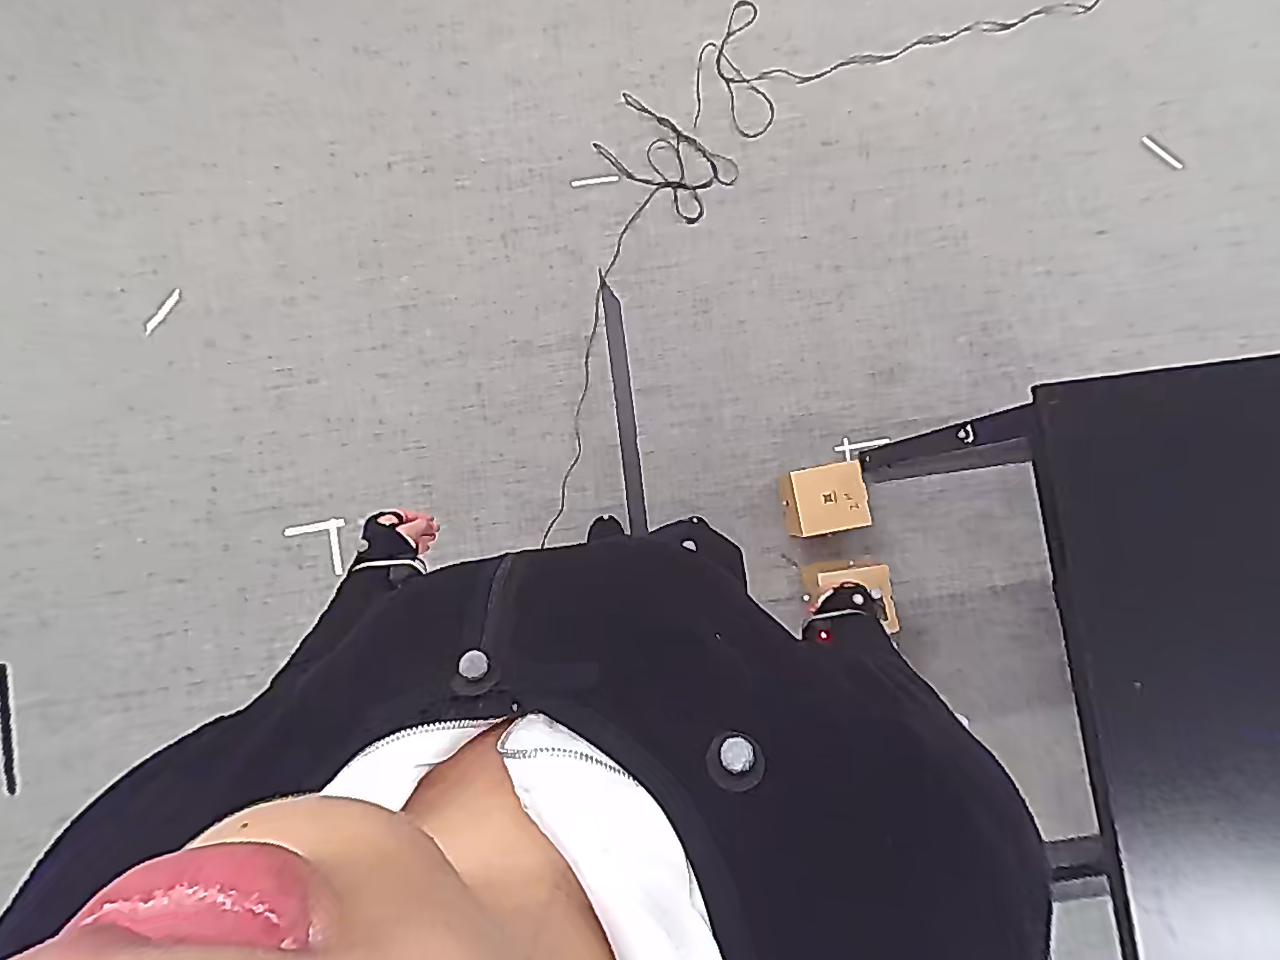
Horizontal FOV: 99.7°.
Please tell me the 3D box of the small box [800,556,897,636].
[{"bbox_3d":[0.533,0.294,1.402,0.179,0.176,0.168,-9,86,2],"label":"small box"}]
